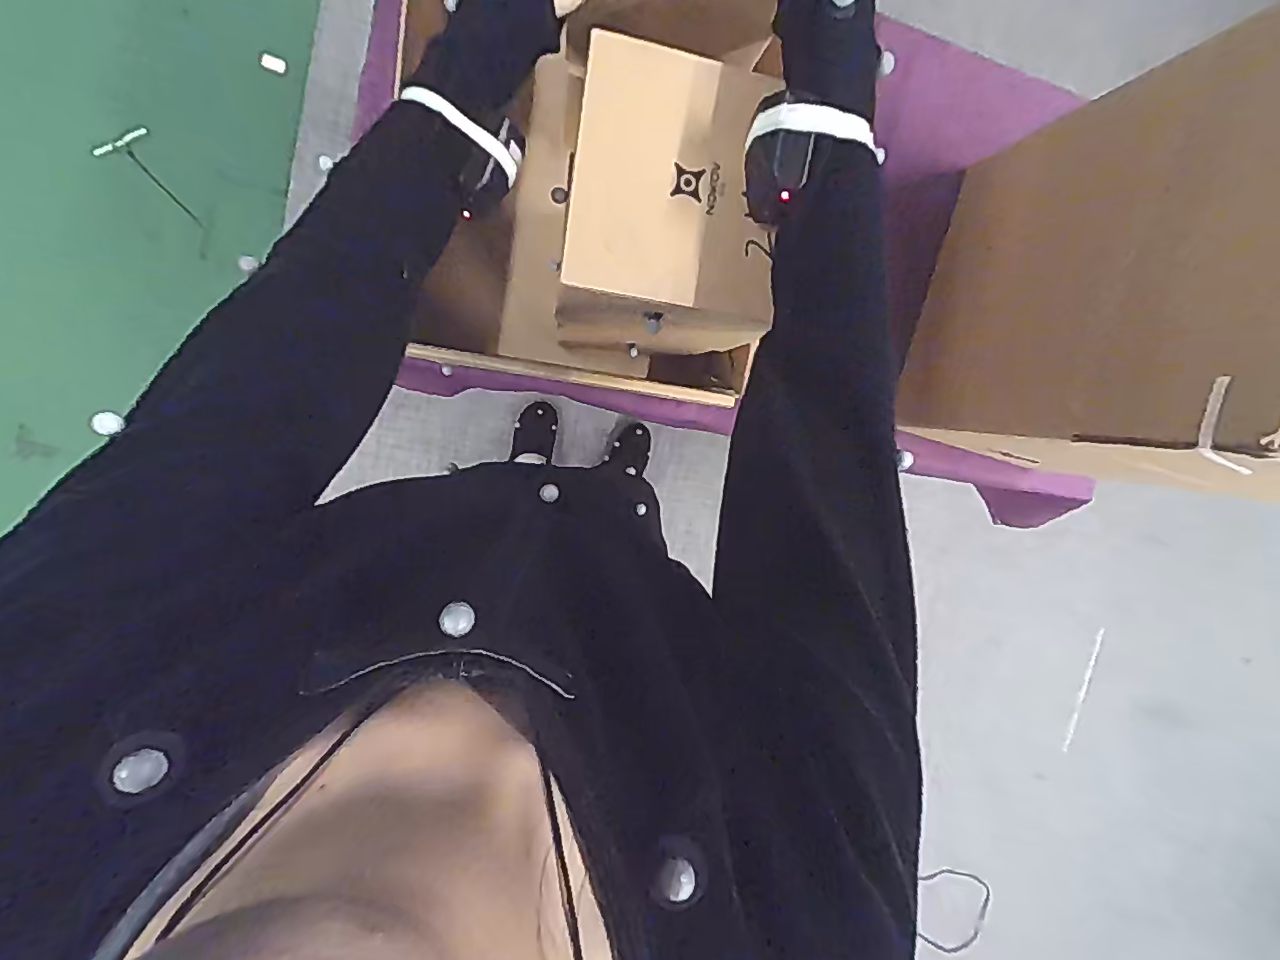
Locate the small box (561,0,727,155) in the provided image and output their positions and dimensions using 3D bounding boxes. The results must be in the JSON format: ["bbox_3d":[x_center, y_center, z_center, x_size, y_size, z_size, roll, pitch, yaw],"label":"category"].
[{"bbox_3d":[0.006,-0.483,0.583,0.168,0.176,0.179,5,100,-10],"label":"small box"}]

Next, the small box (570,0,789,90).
[{"bbox_3d":[0.036,-0.458,0.424,0.168,0.176,0.179,7,101,-10],"label":"small box"}]
